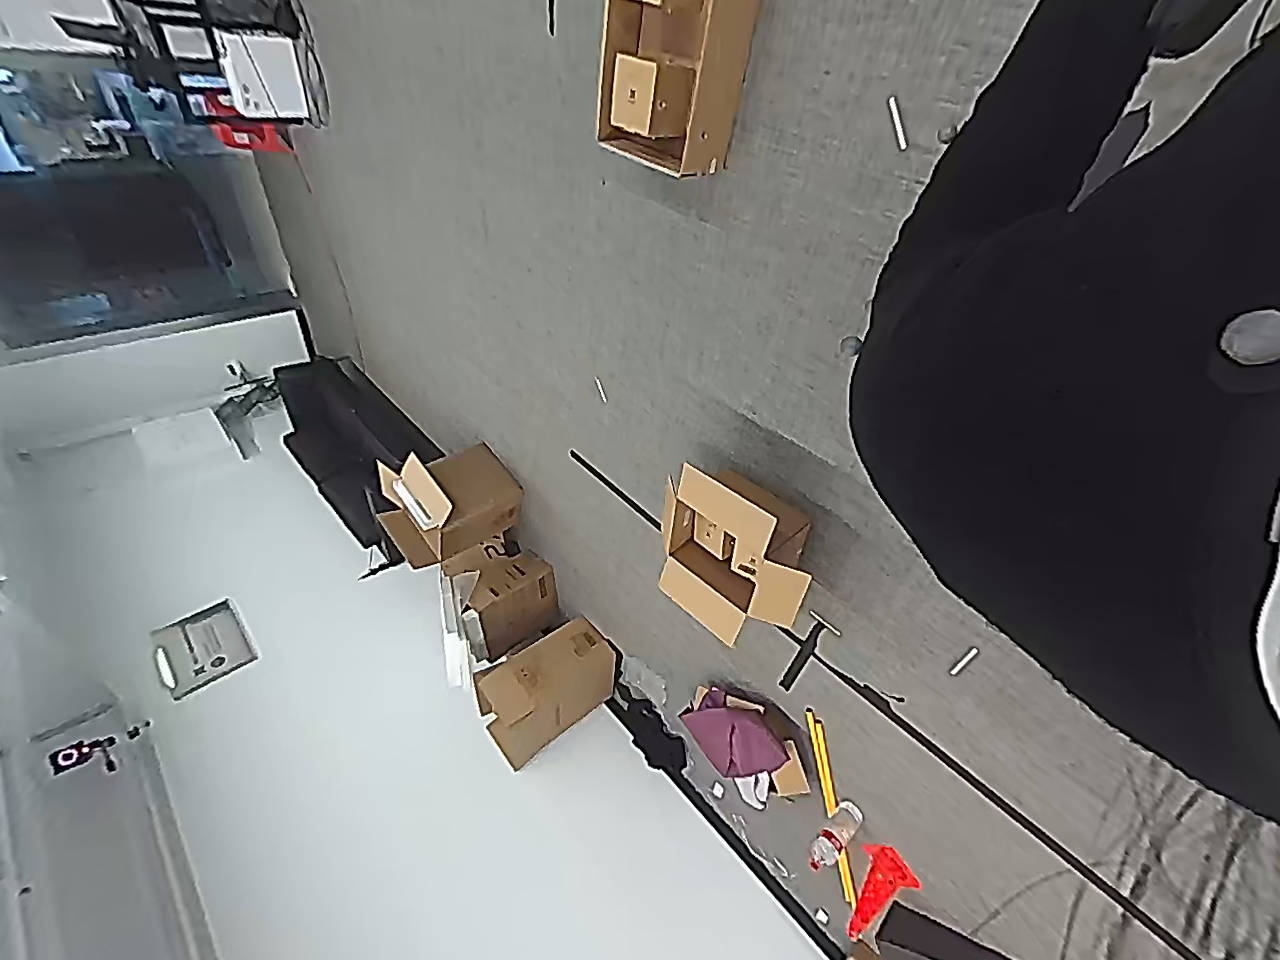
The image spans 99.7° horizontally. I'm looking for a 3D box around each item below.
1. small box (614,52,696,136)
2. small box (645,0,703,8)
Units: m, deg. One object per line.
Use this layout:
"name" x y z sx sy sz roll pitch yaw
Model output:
"small box" 0.045 -1.143 1.605 0.168 0.176 0.179 38 137 28
"small box" 0.075 -1.363 1.419 0.179 0.176 0.168 40 140 26
